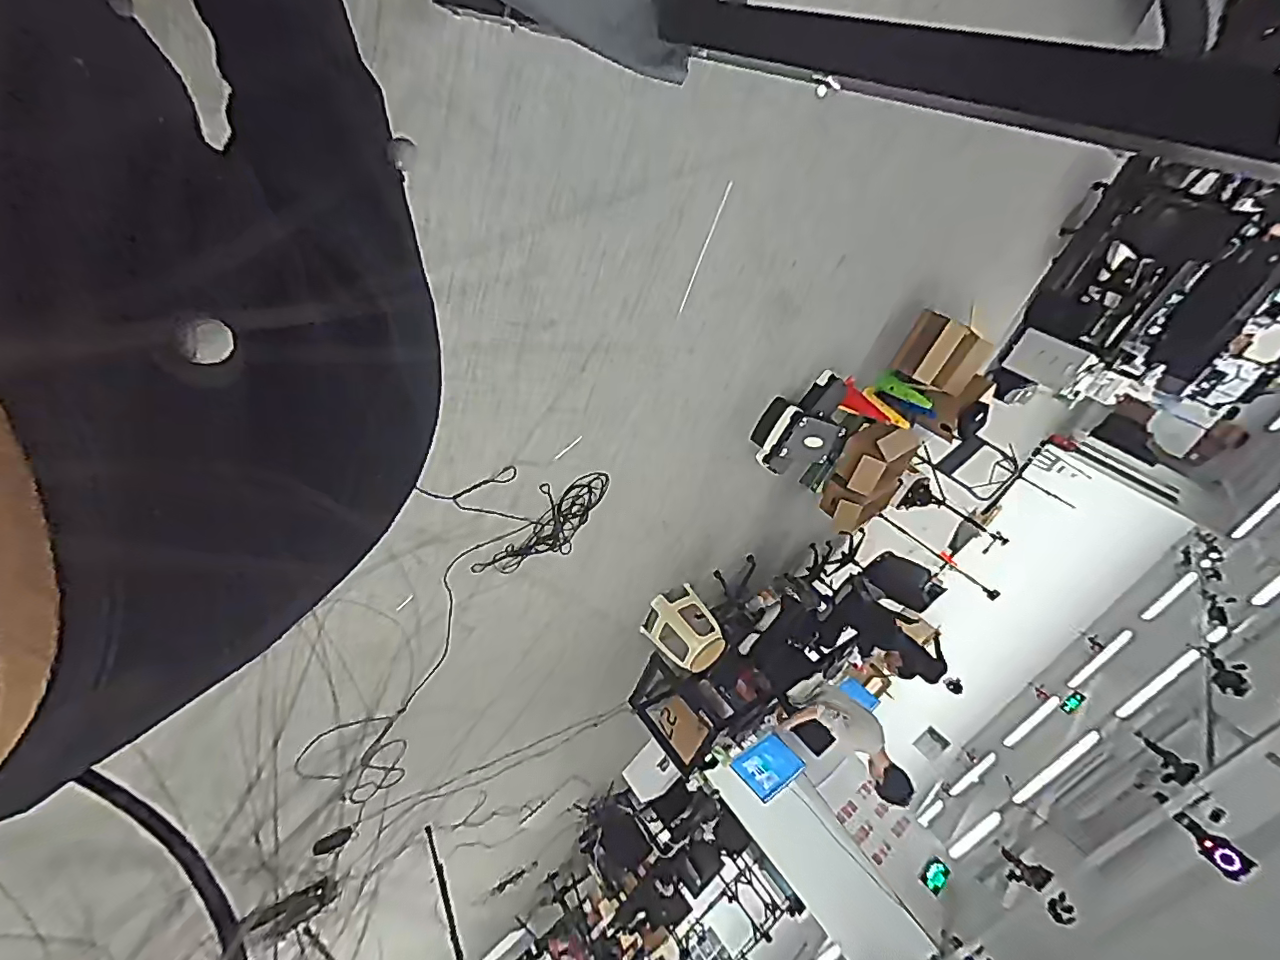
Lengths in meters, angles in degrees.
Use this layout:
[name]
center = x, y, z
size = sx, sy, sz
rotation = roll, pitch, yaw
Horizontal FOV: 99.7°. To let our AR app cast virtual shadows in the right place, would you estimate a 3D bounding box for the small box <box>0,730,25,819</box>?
[small box]
center = -1.717, 0.773, 1.378
size = 0.168, 0.176, 0.179
rotation = -14, 134, -39
